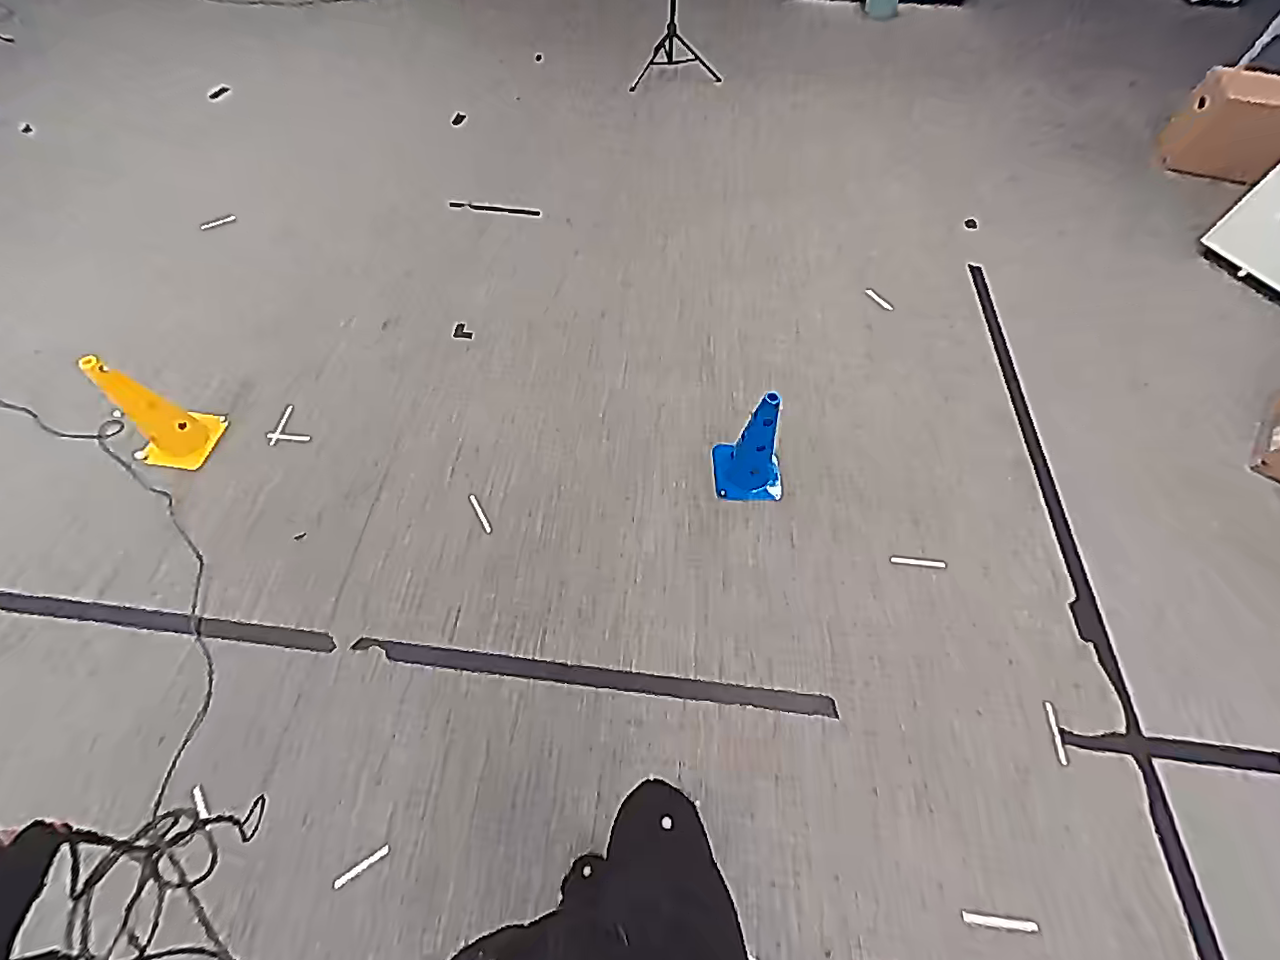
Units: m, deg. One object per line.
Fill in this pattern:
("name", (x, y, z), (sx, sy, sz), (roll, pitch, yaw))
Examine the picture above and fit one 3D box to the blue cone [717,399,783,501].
("blue cone", (0.337, -0.104, 1.519), (0.193, 0.380, 0.192), (2, 60, 0))
